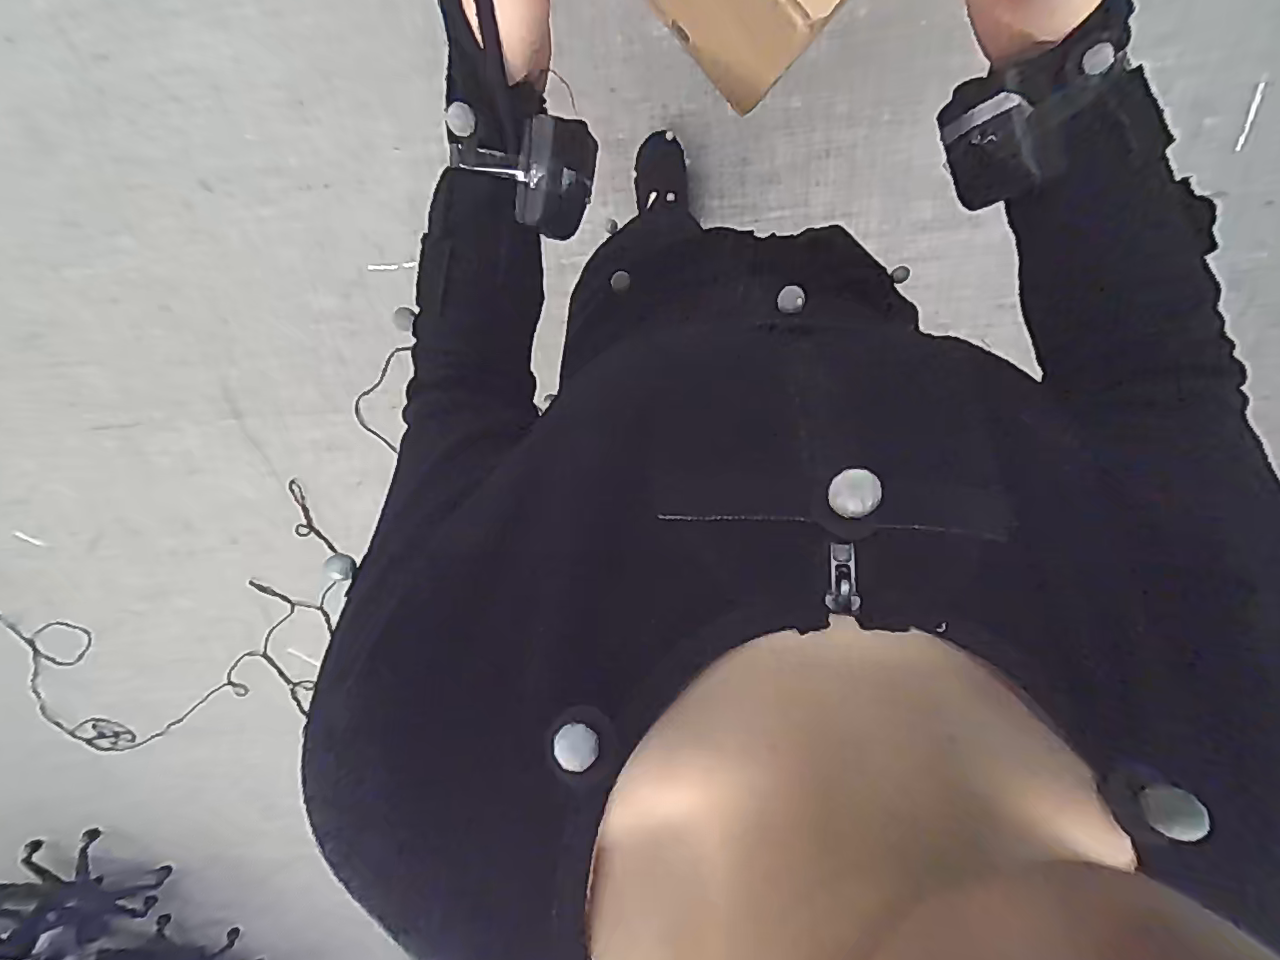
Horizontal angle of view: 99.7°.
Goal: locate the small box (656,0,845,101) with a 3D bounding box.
[{"bbox_3d":[0.065,-0.318,0.242,0.168,0.176,0.179,41,110,-16],"label":"small box"}]
